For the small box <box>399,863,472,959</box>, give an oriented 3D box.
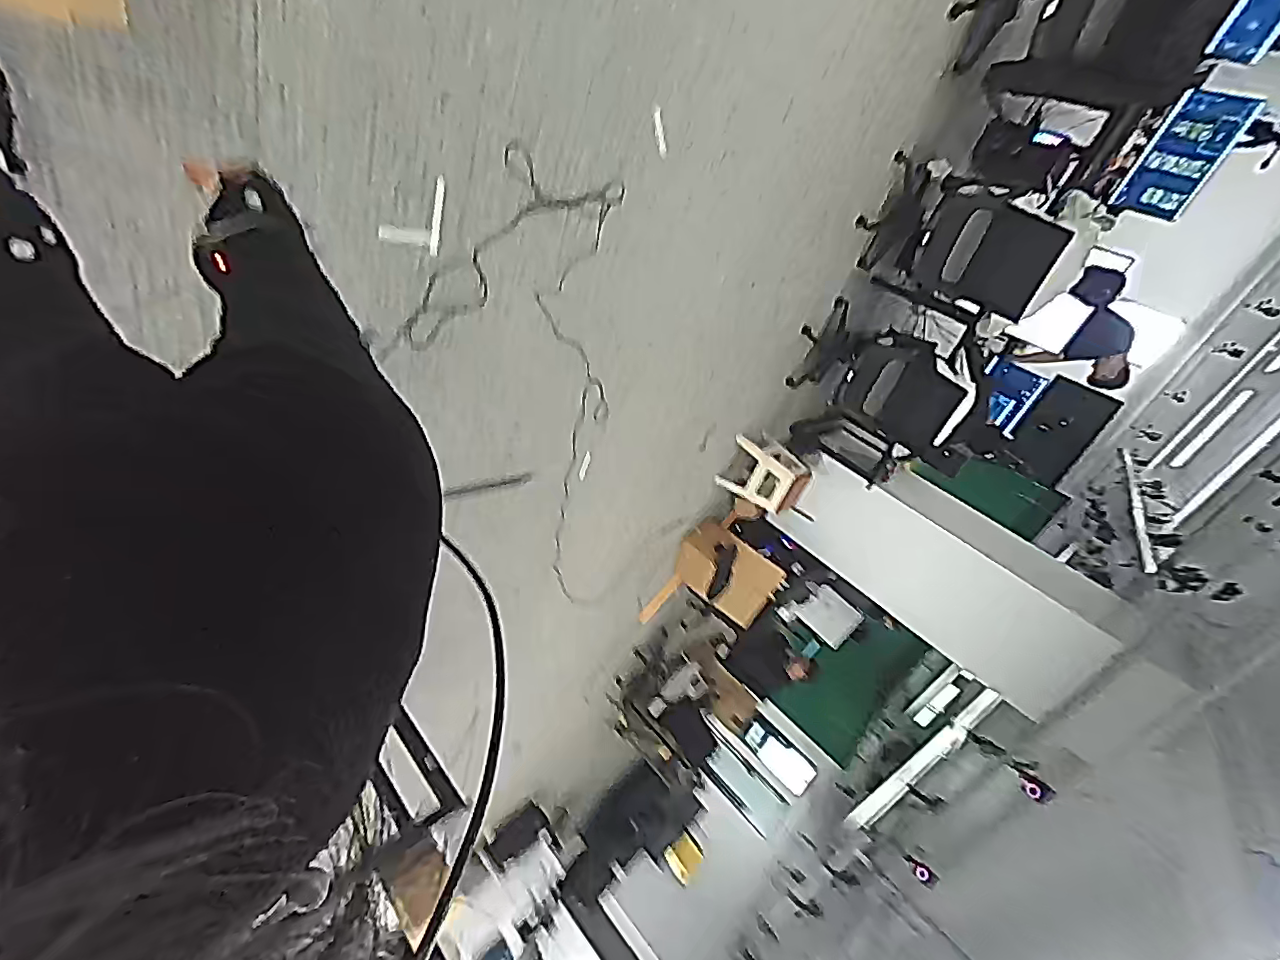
[{"bbox_3d":[-0.689,1.436,1.811,0.168,0.176,0.179,-19,139,-44],"label":"small box"}]
